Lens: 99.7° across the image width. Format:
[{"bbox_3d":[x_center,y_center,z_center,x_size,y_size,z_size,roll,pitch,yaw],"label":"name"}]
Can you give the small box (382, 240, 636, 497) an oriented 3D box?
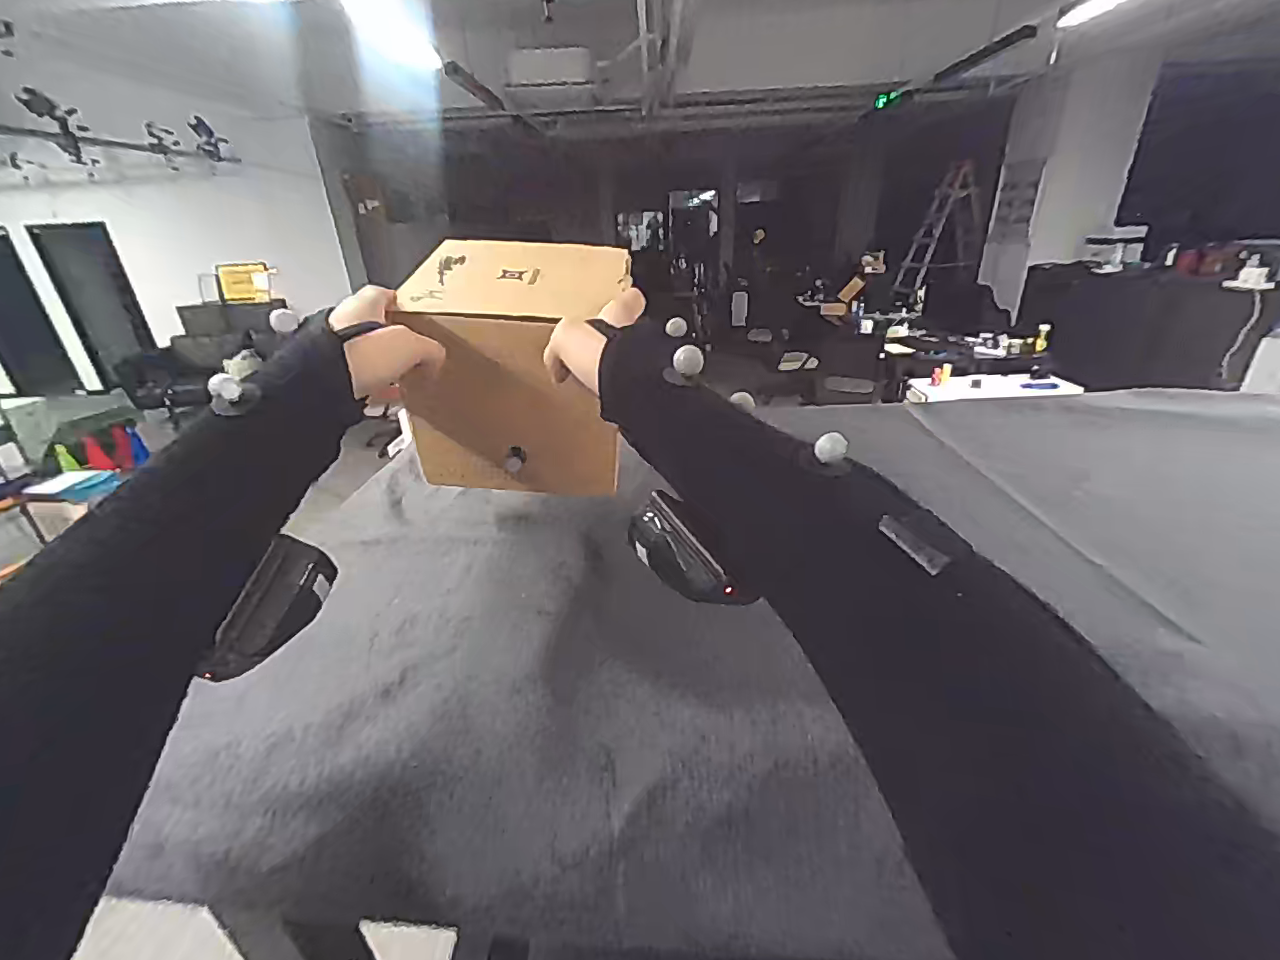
[{"bbox_3d":[-0.099,-0.101,0.495,0.179,0.176,0.168,4,40,-1],"label":"small box"}]
